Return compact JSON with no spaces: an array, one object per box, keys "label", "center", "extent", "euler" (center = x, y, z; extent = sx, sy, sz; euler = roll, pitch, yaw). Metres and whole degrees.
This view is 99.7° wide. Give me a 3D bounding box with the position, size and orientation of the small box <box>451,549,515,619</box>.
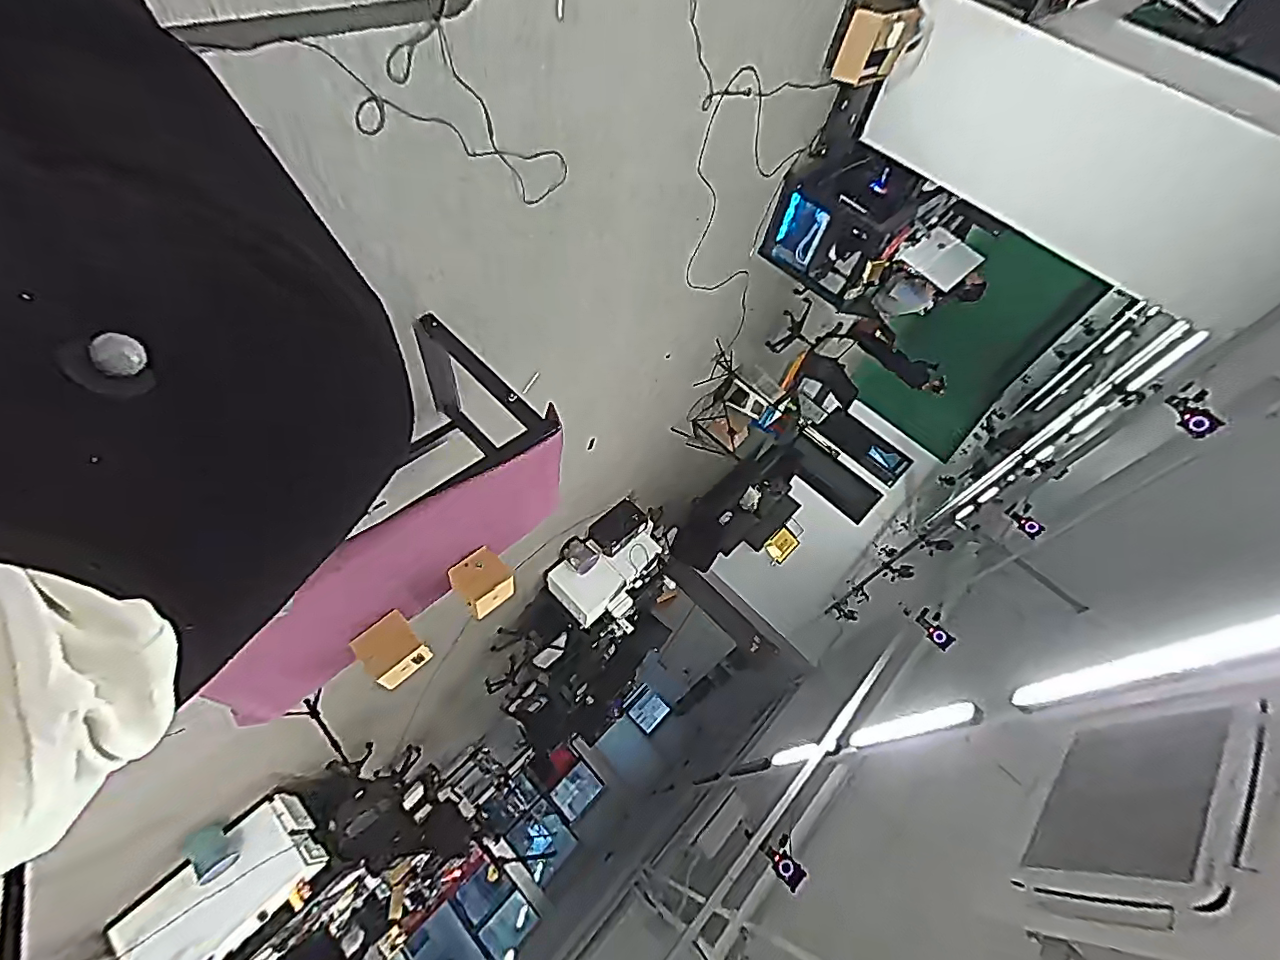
[{"label":"small box","center":[-0.592,0.389,2.041],"extent":[0.168,0.176,0.179],"euler":[-37,160,-30]}]
